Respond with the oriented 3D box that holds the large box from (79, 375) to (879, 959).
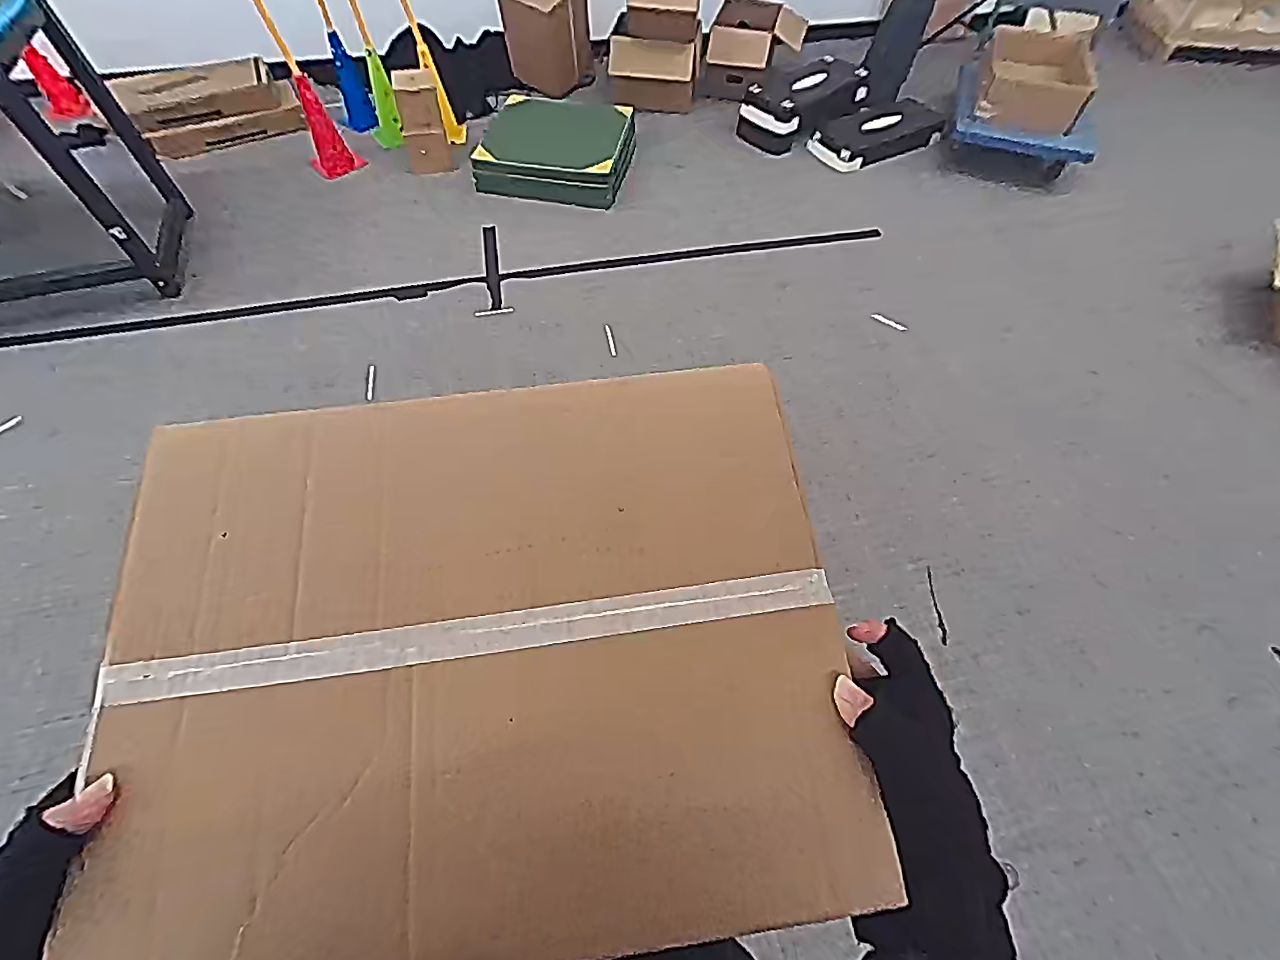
[{"bbox_3d":[-0.093,0.145,0.455,0.408,0.320,0.320,-7,69,-4],"label":"large box"}]
